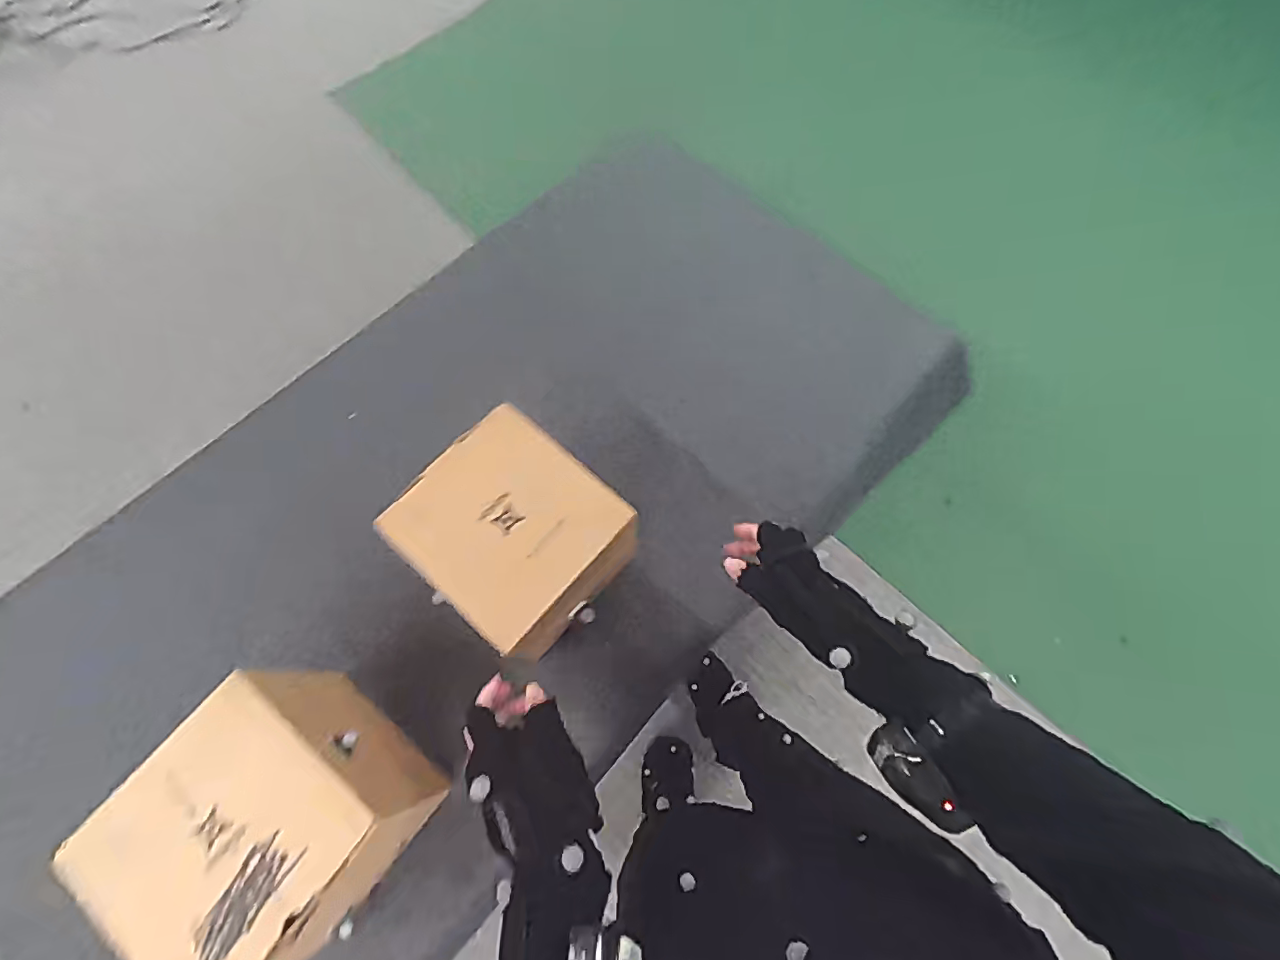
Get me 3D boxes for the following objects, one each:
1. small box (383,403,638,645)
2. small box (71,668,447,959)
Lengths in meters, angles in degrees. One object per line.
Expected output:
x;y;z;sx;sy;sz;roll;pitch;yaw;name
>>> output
-0.120;0.059;0.570;0.179;0.176;0.168;39;75;12;small box
-0.307;0.289;0.479;0.179;0.176;0.168;36;73;14;small box
